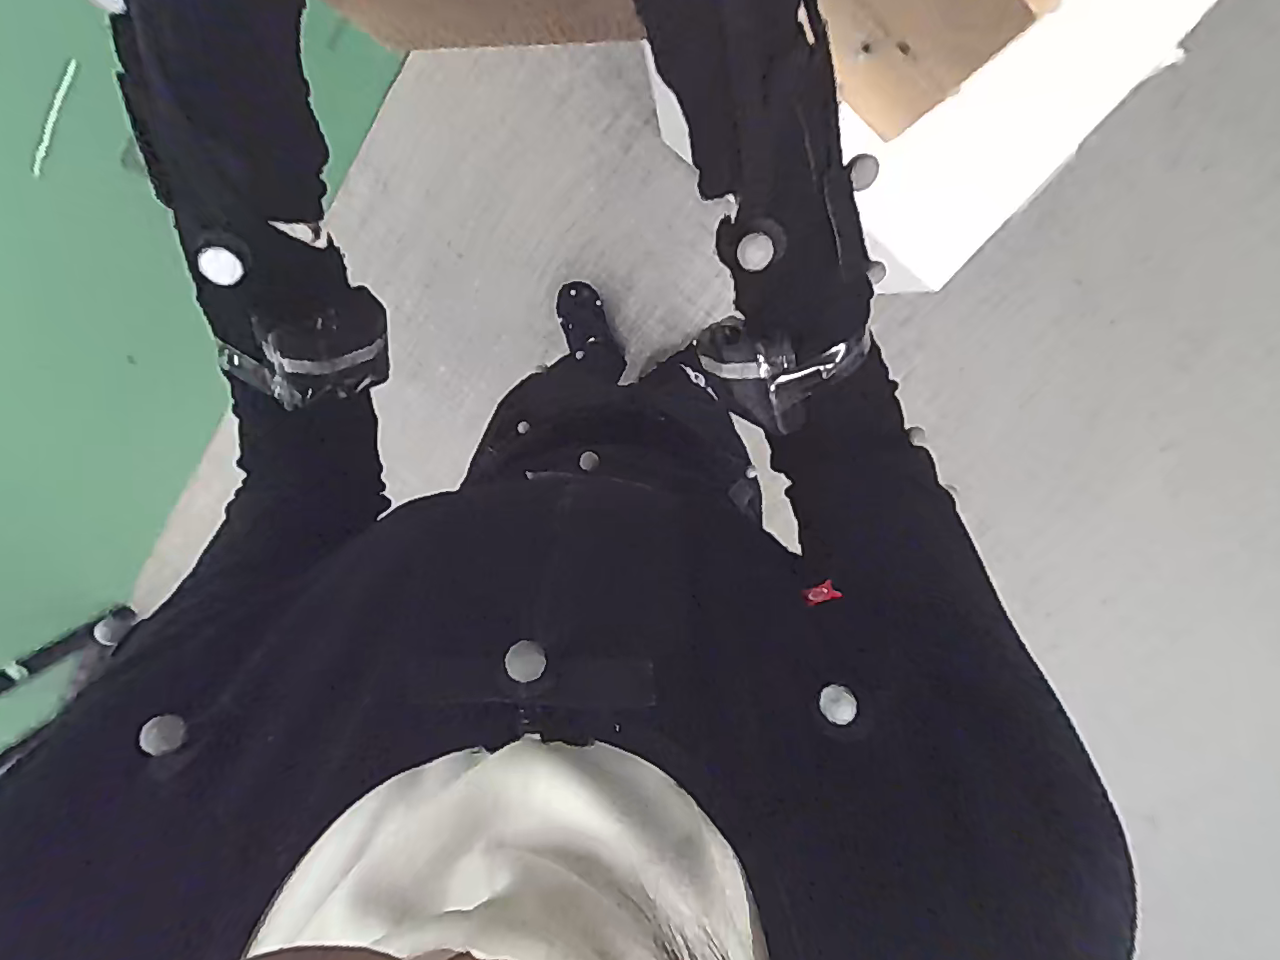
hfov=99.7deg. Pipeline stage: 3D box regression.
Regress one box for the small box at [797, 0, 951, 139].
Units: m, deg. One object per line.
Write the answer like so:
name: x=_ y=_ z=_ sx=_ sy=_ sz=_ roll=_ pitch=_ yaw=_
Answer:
small box: x=0.288 y=-0.497 z=0.560 sx=0.179 sy=0.176 sz=0.168 roll=40 pitch=108 yaw=-8
